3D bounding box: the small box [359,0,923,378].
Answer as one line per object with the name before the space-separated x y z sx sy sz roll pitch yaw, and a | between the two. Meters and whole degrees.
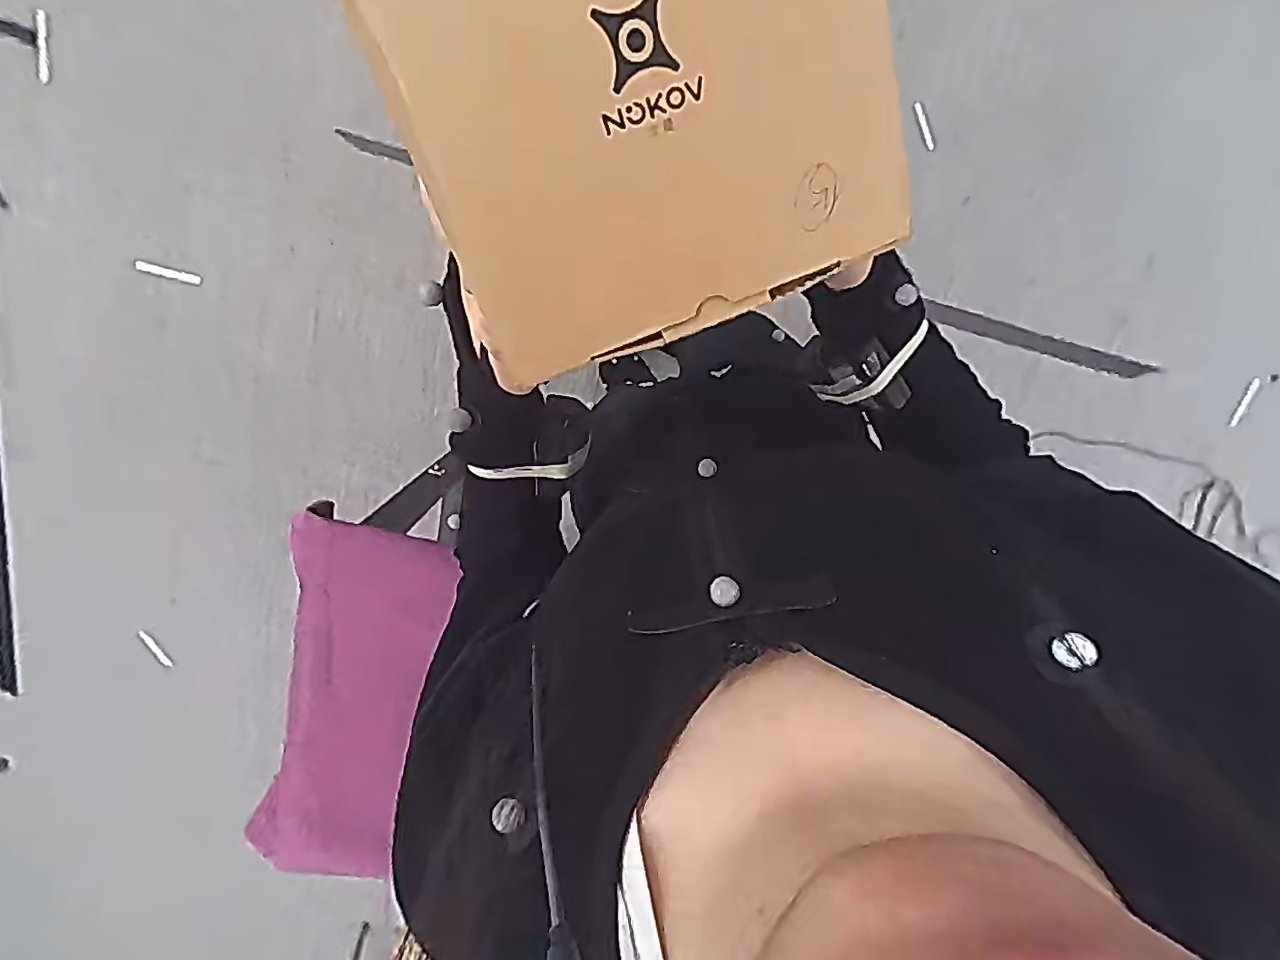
small box | -0.005 -0.170 0.247 0.168 0.176 0.179 -21 113 1
